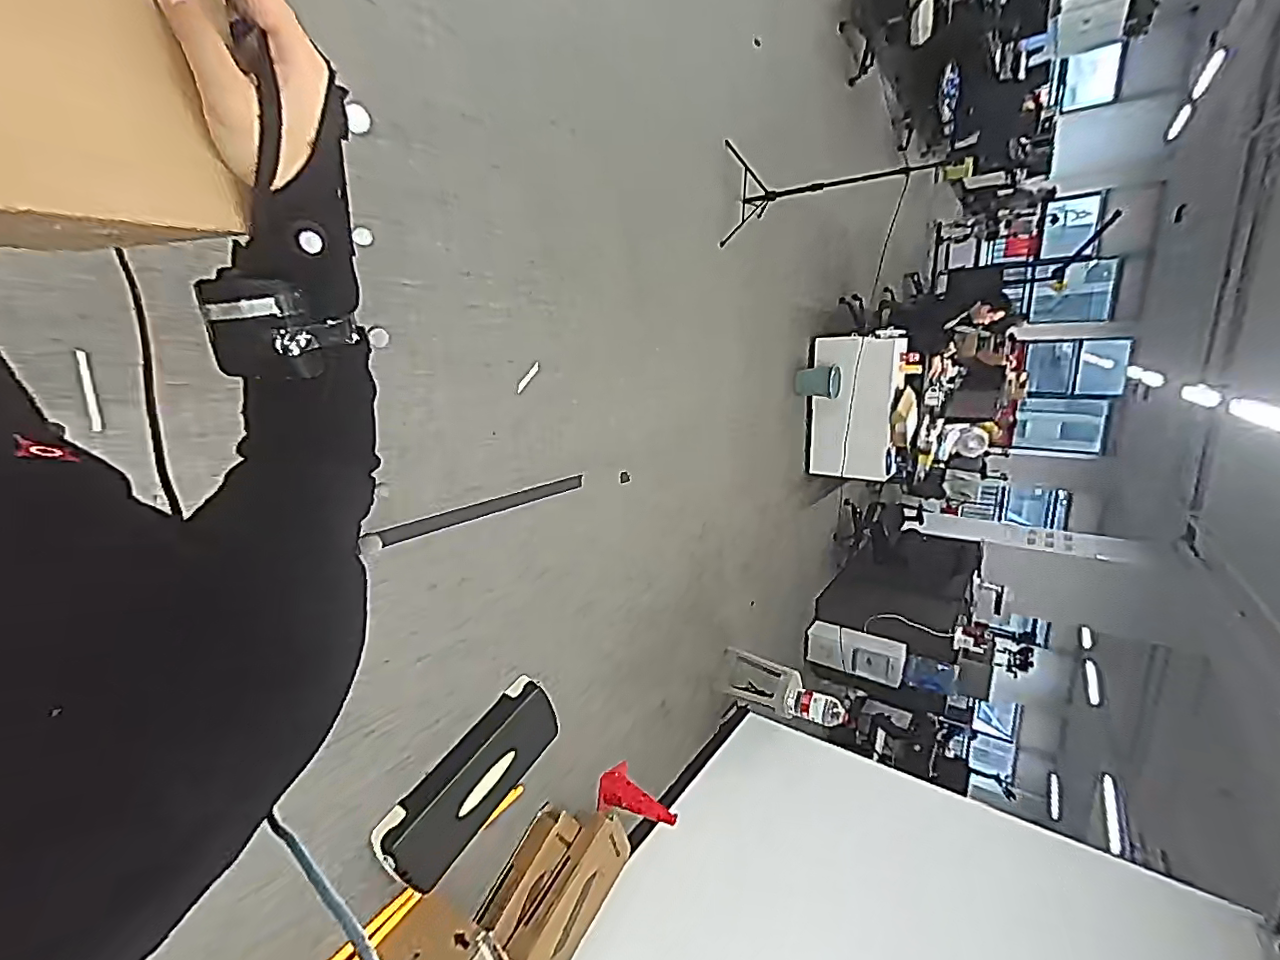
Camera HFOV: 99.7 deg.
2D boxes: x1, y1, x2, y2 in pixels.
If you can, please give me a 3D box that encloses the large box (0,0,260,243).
[{"bbox_3d":[-0.457,-0.272,0.192,0.408,0.320,0.320,-26,123,-55],"label":"large box"}]
